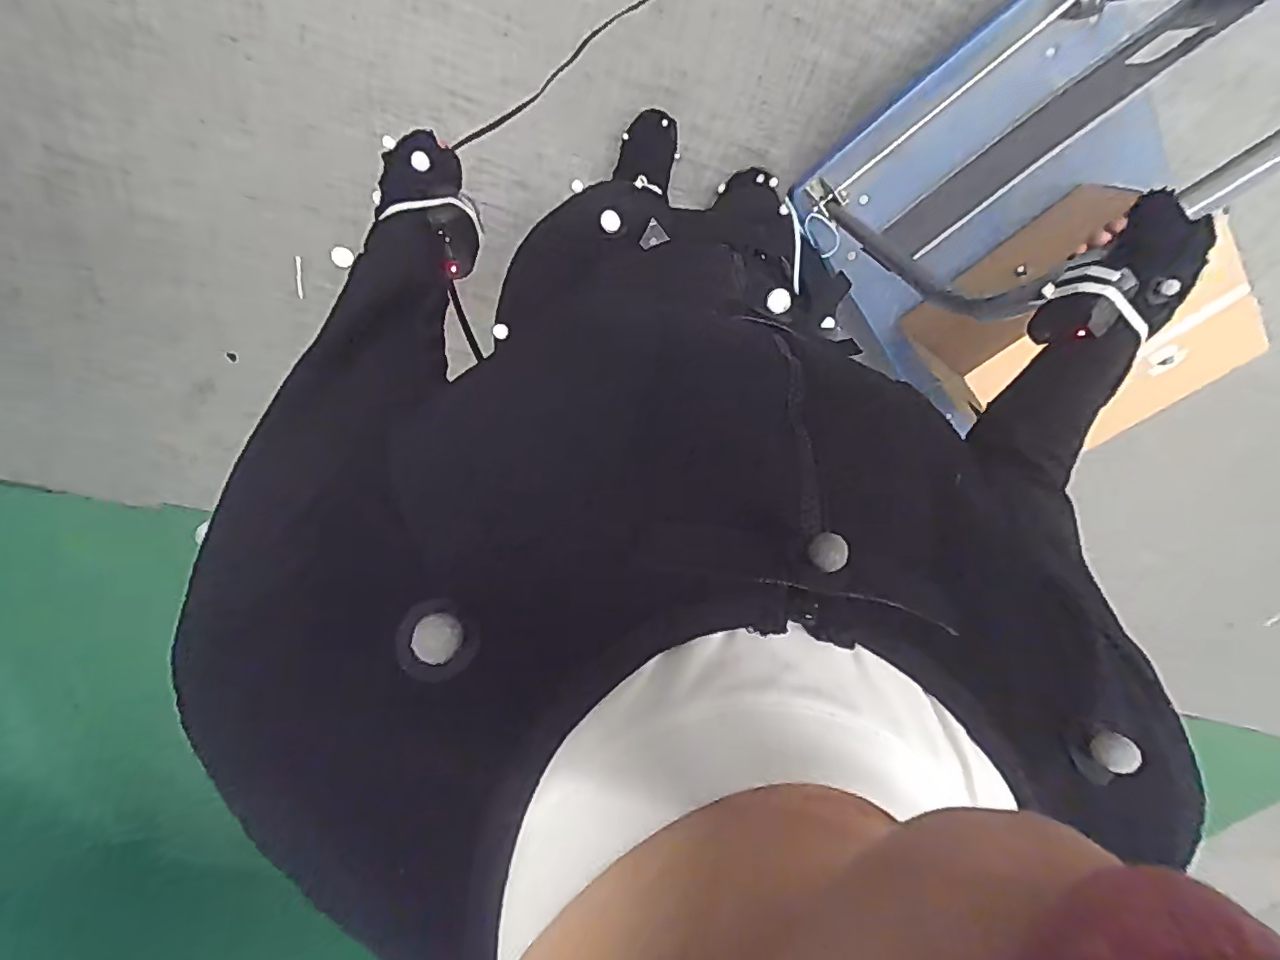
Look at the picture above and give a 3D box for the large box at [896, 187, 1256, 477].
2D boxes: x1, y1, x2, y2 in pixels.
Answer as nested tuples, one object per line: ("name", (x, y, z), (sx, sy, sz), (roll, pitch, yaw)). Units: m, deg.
("large box", (0.810, -0.289, 1.068), (0.408, 0.320, 0.320), (-39, 117, 23))
